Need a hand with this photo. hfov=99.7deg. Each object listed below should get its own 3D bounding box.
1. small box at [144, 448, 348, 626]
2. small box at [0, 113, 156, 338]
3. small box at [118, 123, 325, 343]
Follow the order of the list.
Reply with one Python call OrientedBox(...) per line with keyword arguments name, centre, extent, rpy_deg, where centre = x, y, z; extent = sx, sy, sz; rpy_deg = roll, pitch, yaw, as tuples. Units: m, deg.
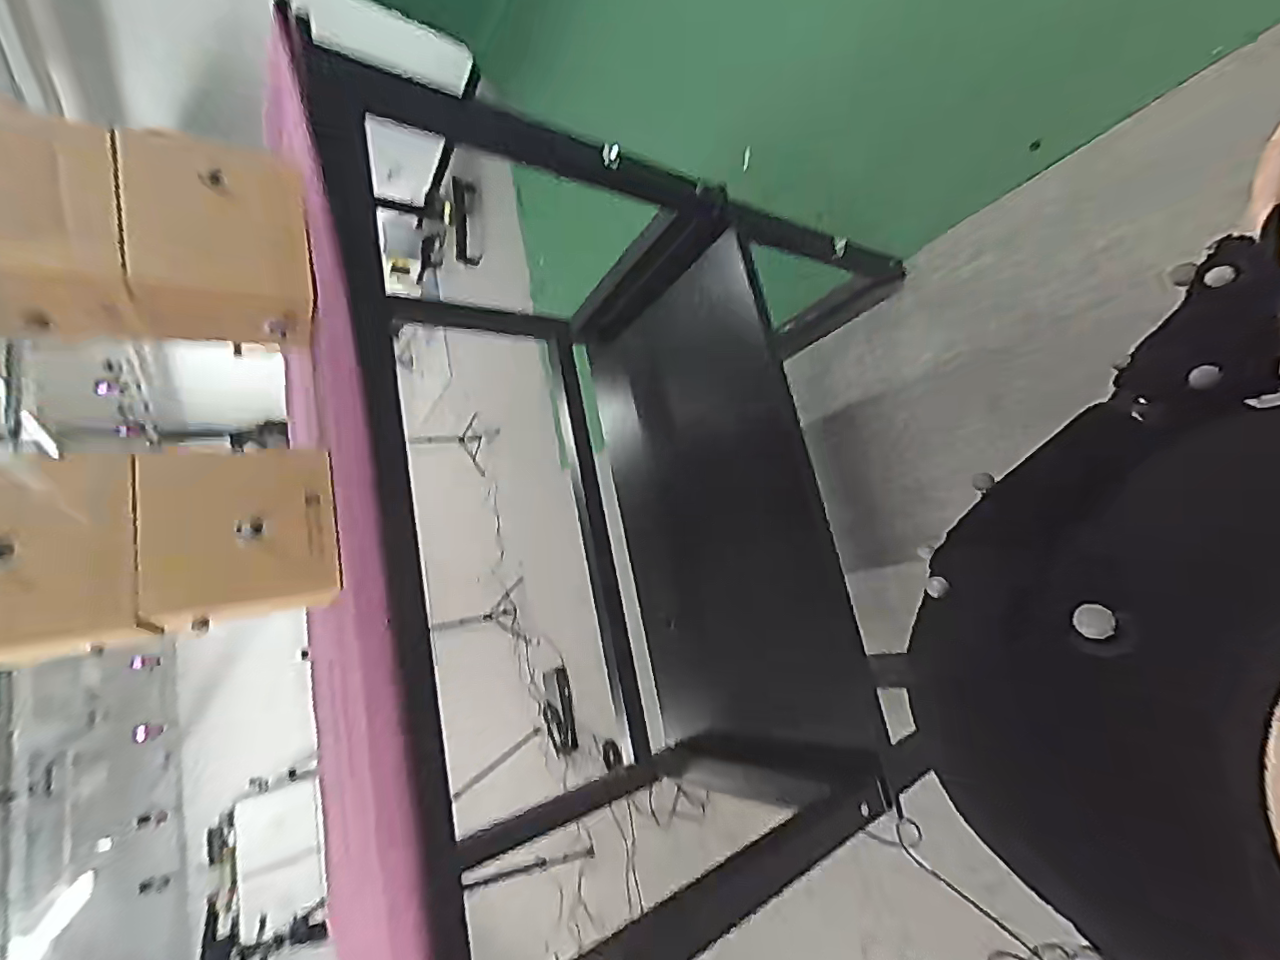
OrientedBox(name="small box", centre=(-0.443, 0.065, 0.624), extent=(0.179, 0.176, 0.168), rpy_deg=(-27, 72, 52))
OrientedBox(name="small box", centre=(-0.633, -0.260, 0.573), extent=(0.168, 0.176, 0.179), rpy_deg=(-15, 83, 56))
OrientedBox(name="small box", centre=(-0.496, -0.280, 0.659), extent=(0.168, 0.176, 0.179), rpy_deg=(-20, 80, 56))
